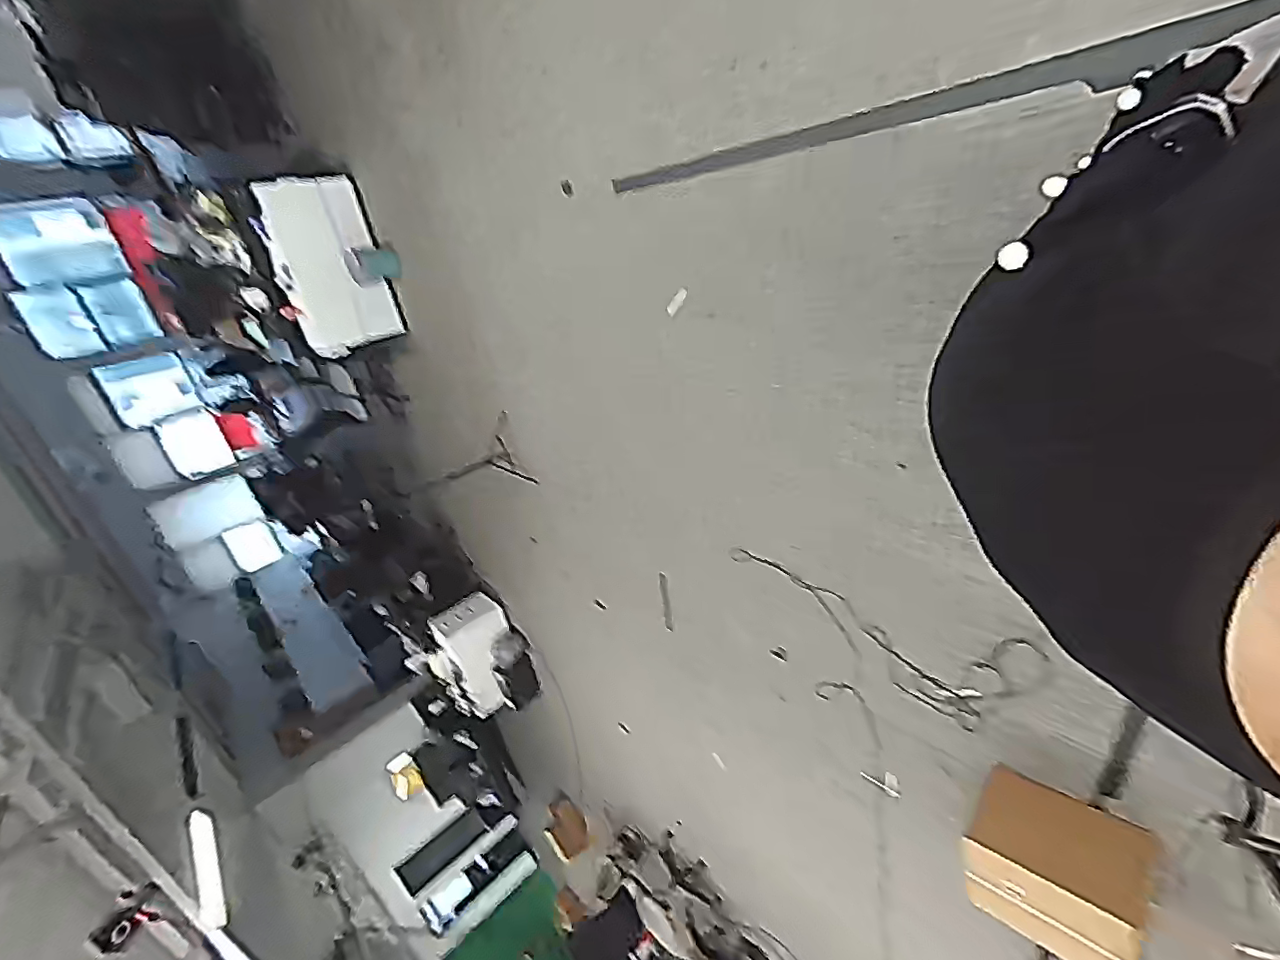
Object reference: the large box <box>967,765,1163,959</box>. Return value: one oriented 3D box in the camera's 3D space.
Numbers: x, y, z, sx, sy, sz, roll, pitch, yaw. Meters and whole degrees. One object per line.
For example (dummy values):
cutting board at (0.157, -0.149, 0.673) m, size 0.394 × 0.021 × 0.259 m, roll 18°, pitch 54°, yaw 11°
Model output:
large box at (1.272, 1.162, 1.627) m, size 0.408 × 0.320 × 0.320 m, roll 9°, pitch 121°, yaw 50°
